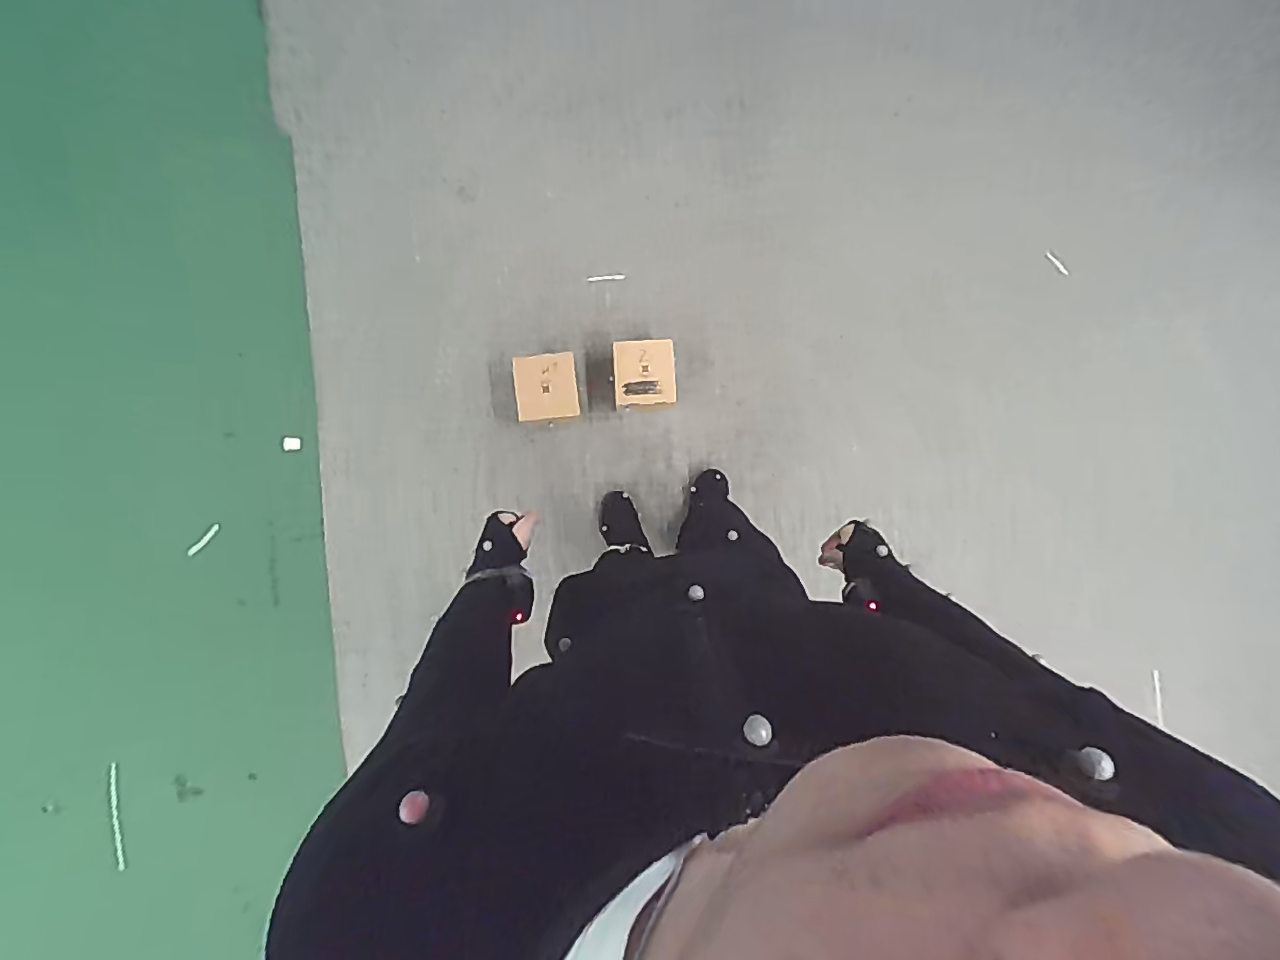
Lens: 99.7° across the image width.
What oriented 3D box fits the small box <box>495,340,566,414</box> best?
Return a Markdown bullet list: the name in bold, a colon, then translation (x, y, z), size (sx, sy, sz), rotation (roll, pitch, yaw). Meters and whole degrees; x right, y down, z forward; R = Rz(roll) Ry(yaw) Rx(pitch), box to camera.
- **small box**: translation (-0.298, -0.278, 1.496), size (0.168, 0.176, 0.179), rotation (-5, 91, -5)
